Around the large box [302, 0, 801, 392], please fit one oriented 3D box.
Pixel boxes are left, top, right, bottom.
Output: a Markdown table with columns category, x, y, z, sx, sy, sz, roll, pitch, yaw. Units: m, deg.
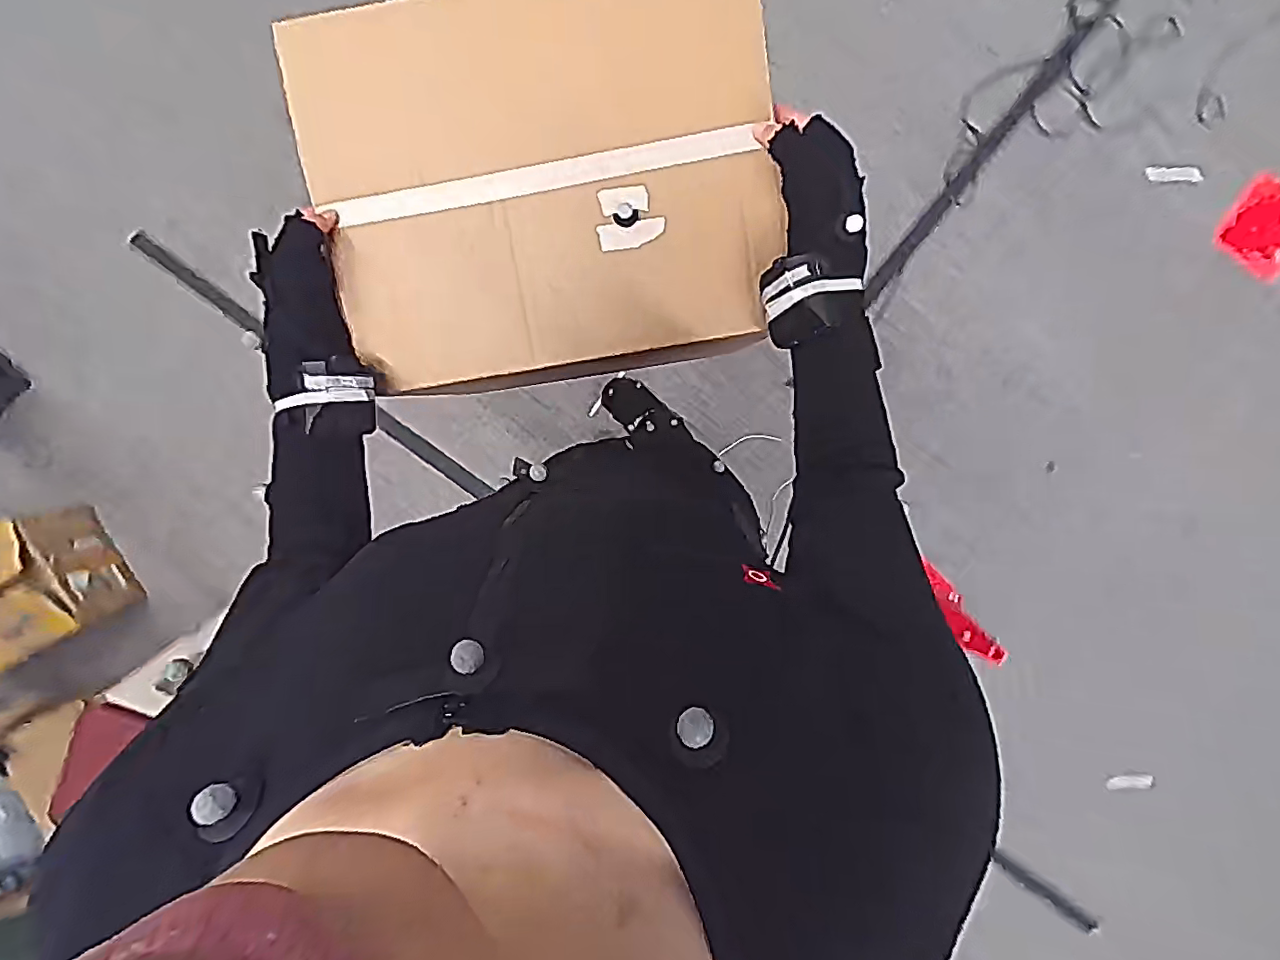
| category | x | y | z | sx | sy | sz | roll | pitch | yaw |
| --- | --- | --- | --- | --- | --- | --- | --- | --- | --- |
| large box | -0.071 | -0.286 | 0.620 | 0.408 | 0.320 | 0.320 | -8 | 99 | 2 |

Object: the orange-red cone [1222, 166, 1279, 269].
| category | x | y | z | sx | sy | sz | roll | pitch | yaw |
| --- | --- | --- | --- | --- | --- | --- | --- | --- | --- |
| orange-red cone | 1.607 | -0.647 | 1.204 | 0.198 | 0.360 | 0.199 | 34 | 95 | -5 |
